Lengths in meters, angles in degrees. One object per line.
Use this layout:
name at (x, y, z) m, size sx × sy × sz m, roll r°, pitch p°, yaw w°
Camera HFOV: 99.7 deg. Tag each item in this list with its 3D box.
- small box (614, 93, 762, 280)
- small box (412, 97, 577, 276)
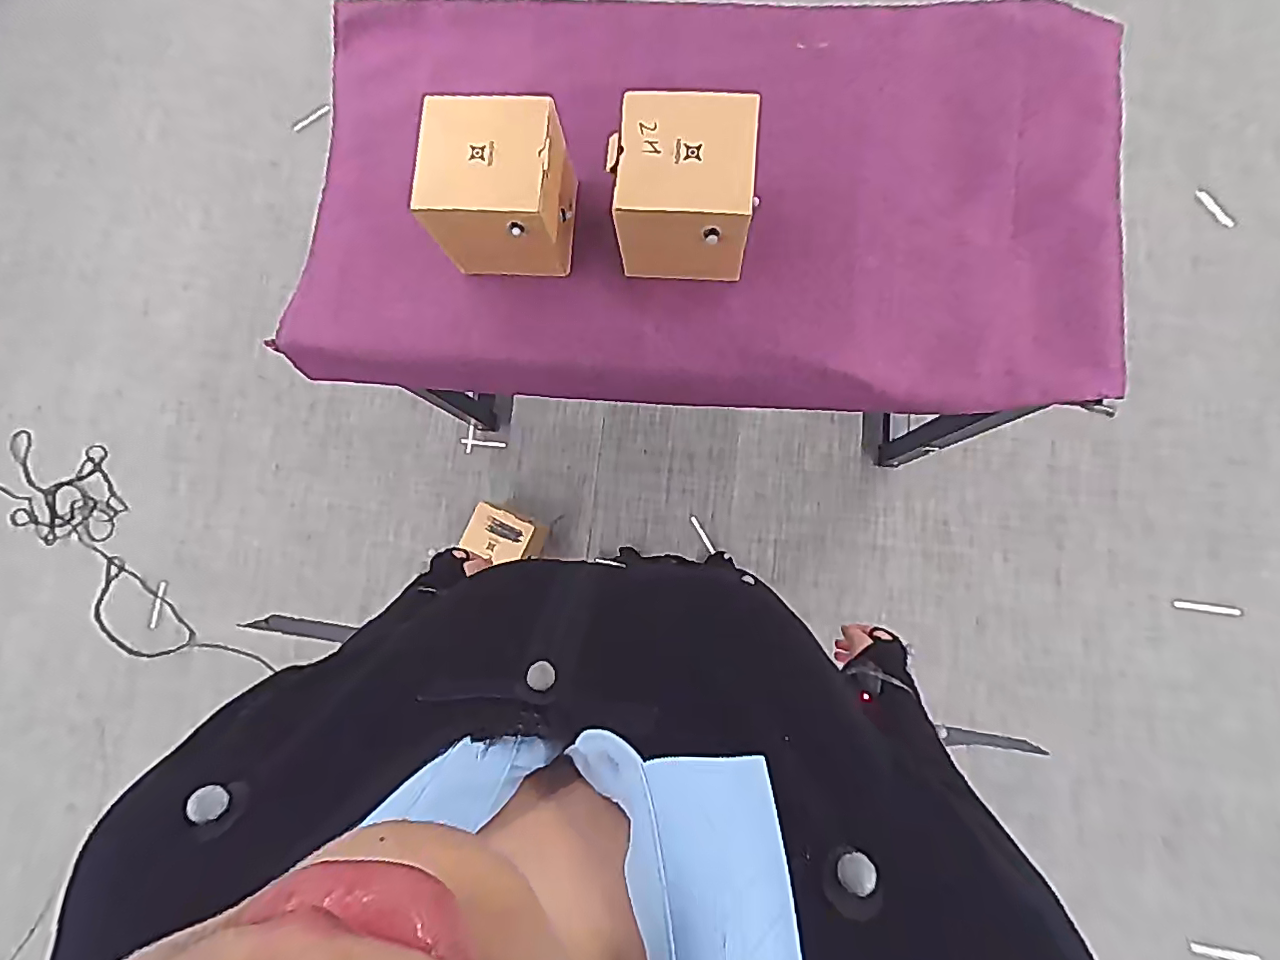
small box at (0.067, -0.397, 0.756) m, size 0.179 × 0.176 × 0.168 m, roll 4°, pitch 82°, yaw 6°
small box at (-0.198, -0.413, 0.782) m, size 0.179 × 0.176 × 0.168 m, roll 3°, pitch 83°, yaw 4°
